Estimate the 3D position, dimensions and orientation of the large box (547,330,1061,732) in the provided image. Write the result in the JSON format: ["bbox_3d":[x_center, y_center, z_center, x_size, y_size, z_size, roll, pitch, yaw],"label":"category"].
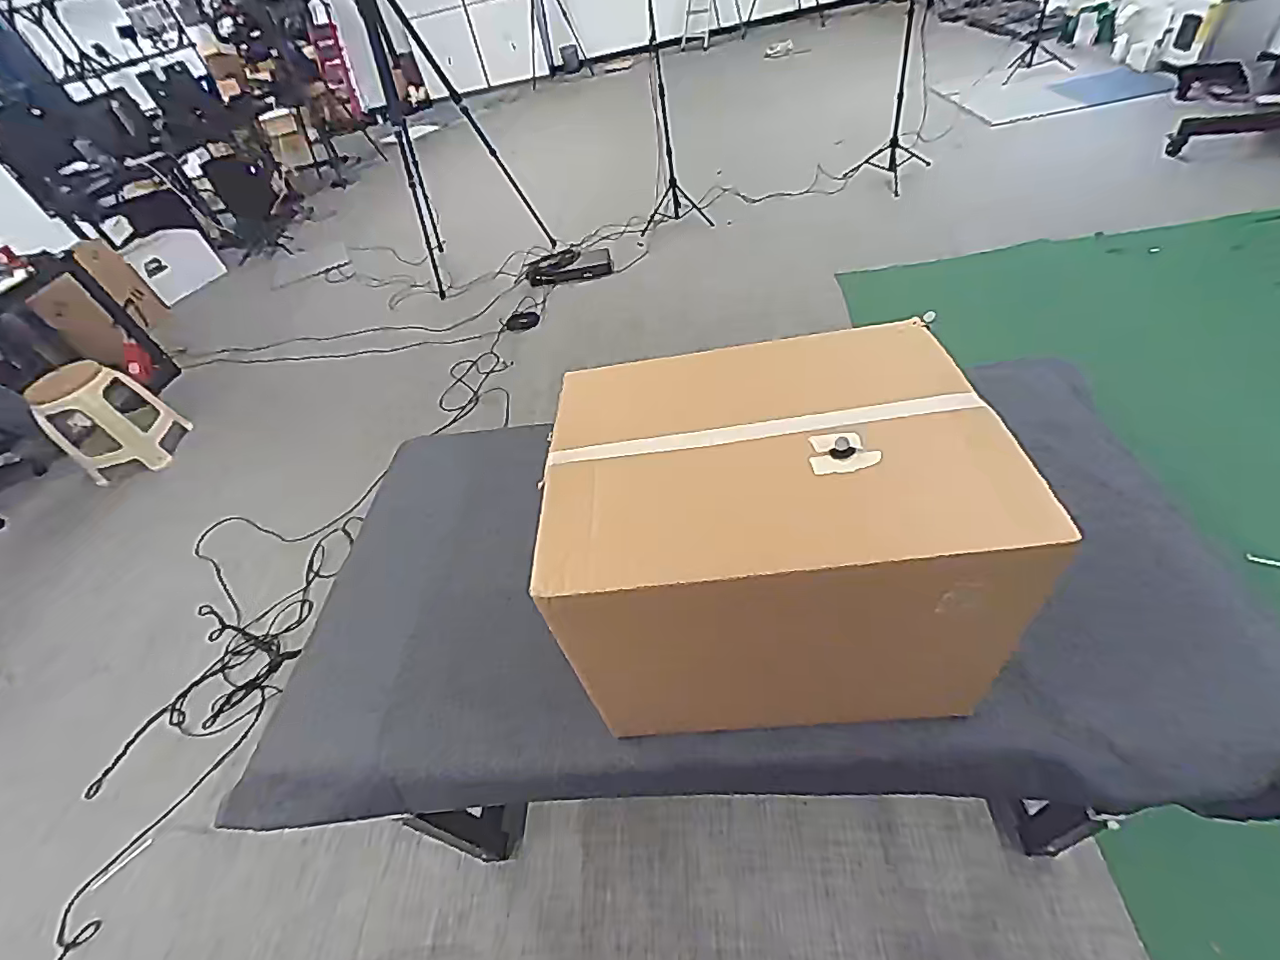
[{"bbox_3d":[0.137,0.066,0.624,0.408,0.320,0.320,-7,45,6],"label":"large box"}]
